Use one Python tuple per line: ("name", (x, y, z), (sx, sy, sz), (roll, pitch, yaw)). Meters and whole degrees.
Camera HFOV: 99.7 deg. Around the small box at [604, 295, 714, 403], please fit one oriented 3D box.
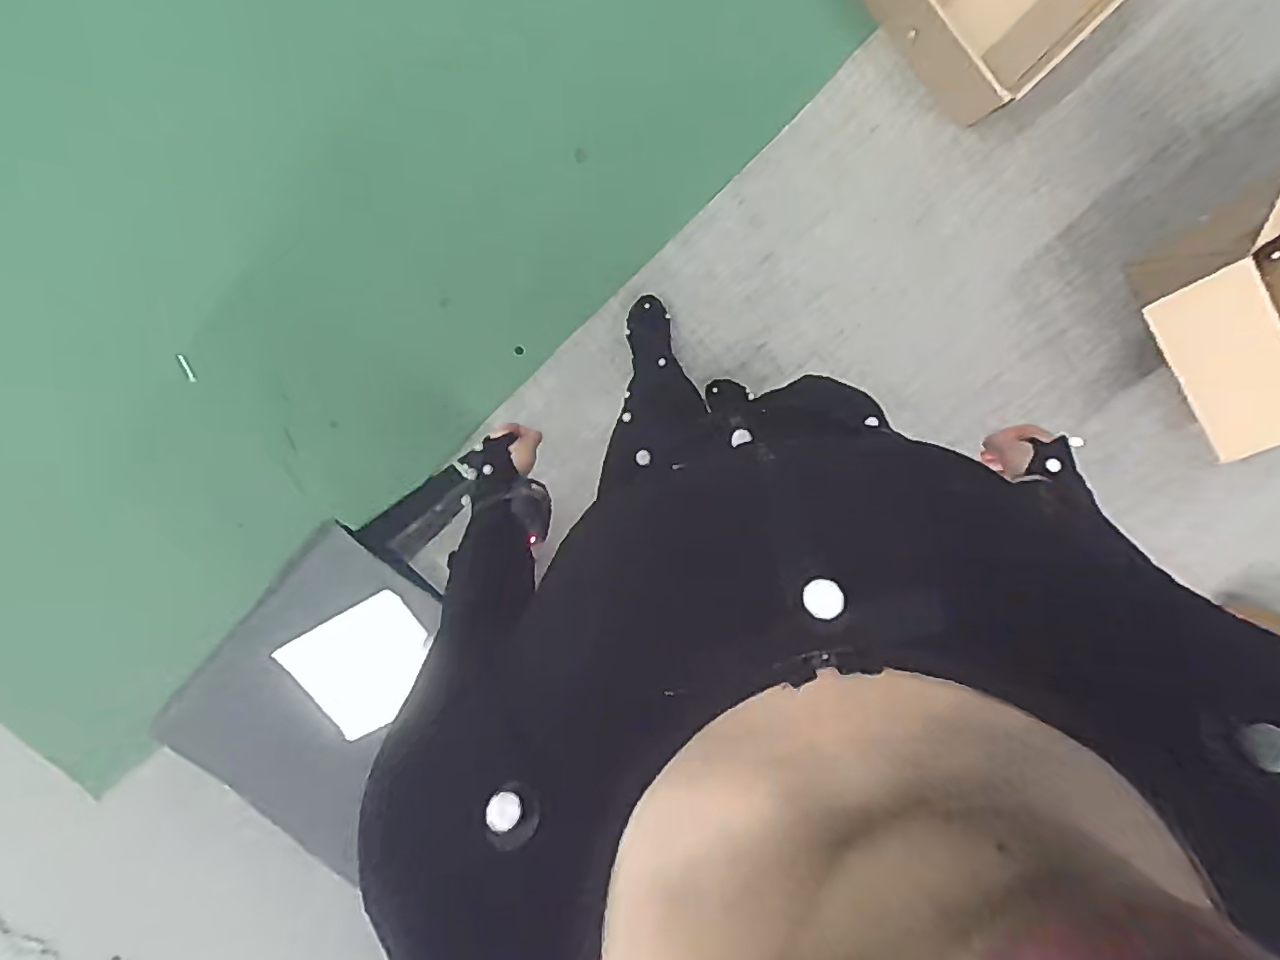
("small box", (0.054, -0.315, 1.298), (0.176, 0.168, 0.179), (40, 85, -37))
